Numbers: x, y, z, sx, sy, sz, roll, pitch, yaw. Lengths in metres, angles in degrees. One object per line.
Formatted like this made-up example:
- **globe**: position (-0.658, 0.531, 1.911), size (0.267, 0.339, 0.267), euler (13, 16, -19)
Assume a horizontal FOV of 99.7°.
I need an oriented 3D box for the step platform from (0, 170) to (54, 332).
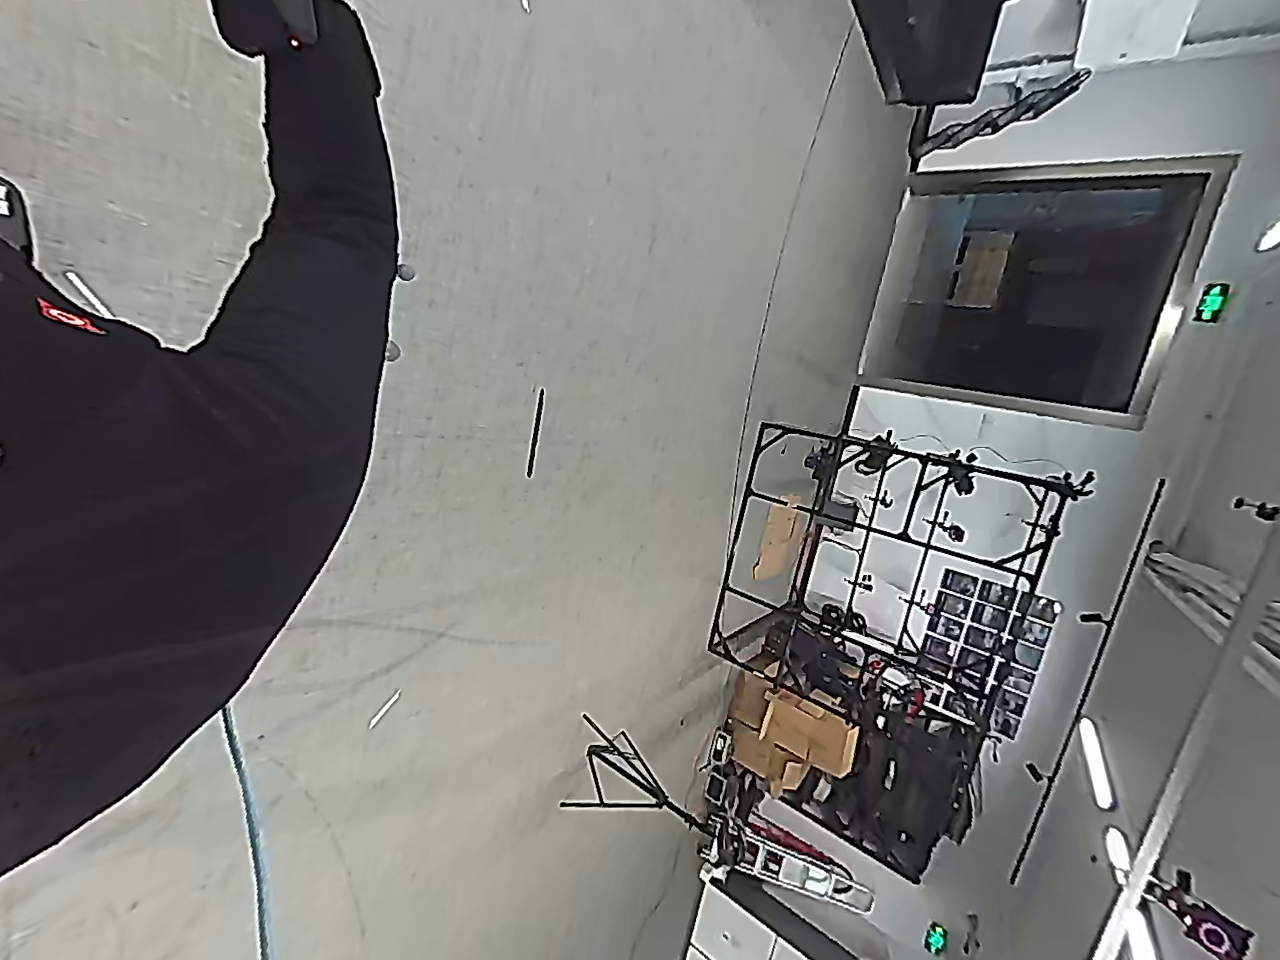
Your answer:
- **step platform**: position (-1.349, -0.412, 0.781), size (0.684, 0.204, 0.286), euler (-6, 110, -56)
